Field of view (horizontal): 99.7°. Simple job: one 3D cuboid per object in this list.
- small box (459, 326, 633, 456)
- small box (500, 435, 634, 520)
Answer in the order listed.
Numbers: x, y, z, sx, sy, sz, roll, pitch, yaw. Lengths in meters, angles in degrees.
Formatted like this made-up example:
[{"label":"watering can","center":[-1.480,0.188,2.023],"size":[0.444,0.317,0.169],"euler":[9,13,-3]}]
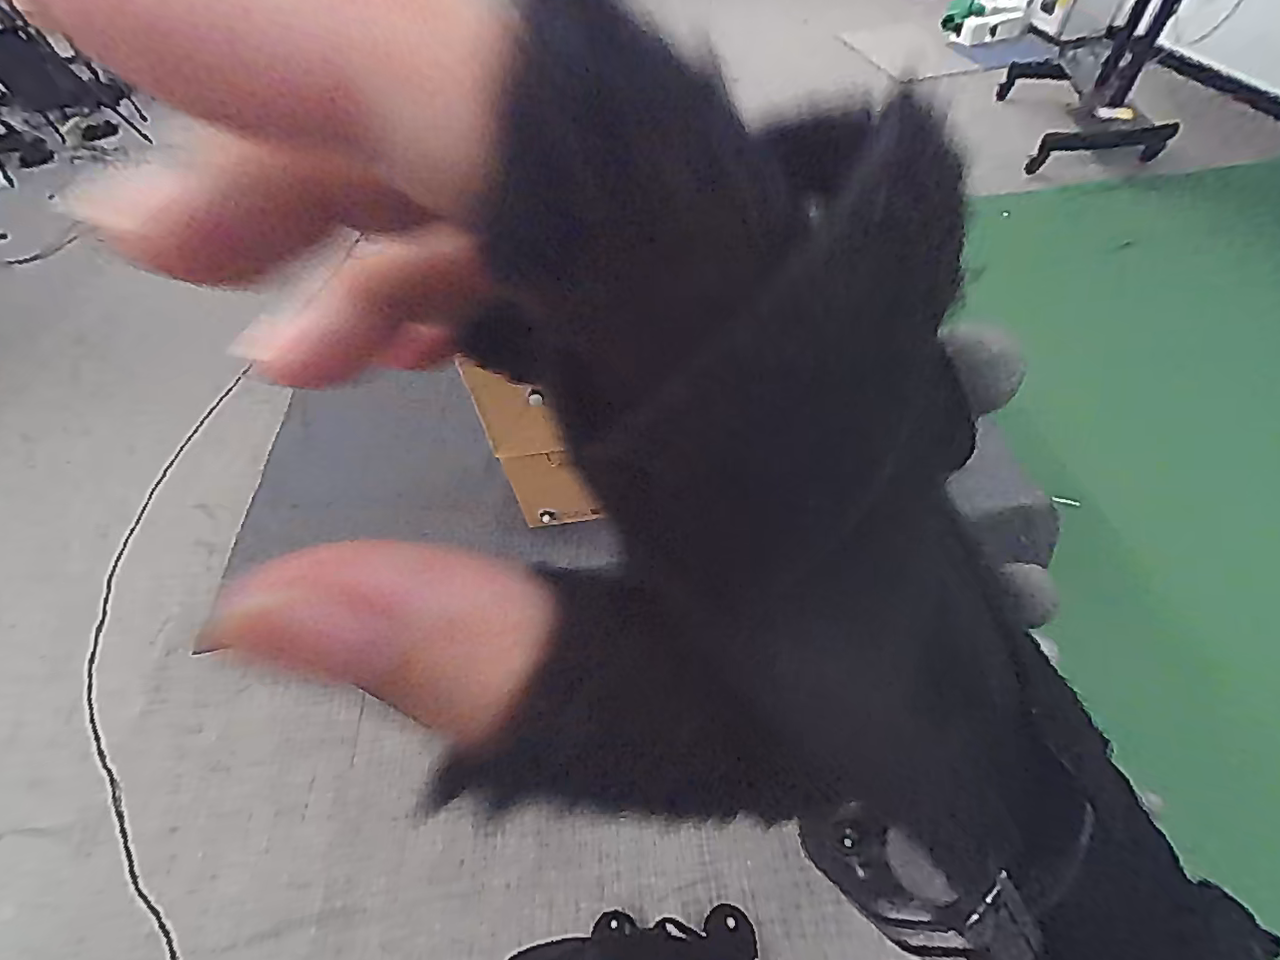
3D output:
[{"label":"small box","center":[-0.111,-0.148,0.682],"size":[0.179,0.176,0.168],"euler":[-9,50,-3]},{"label":"small box","center":[-0.103,-0.054,0.812],"size":[0.168,0.176,0.179],"euler":[-8,51,-1]}]
